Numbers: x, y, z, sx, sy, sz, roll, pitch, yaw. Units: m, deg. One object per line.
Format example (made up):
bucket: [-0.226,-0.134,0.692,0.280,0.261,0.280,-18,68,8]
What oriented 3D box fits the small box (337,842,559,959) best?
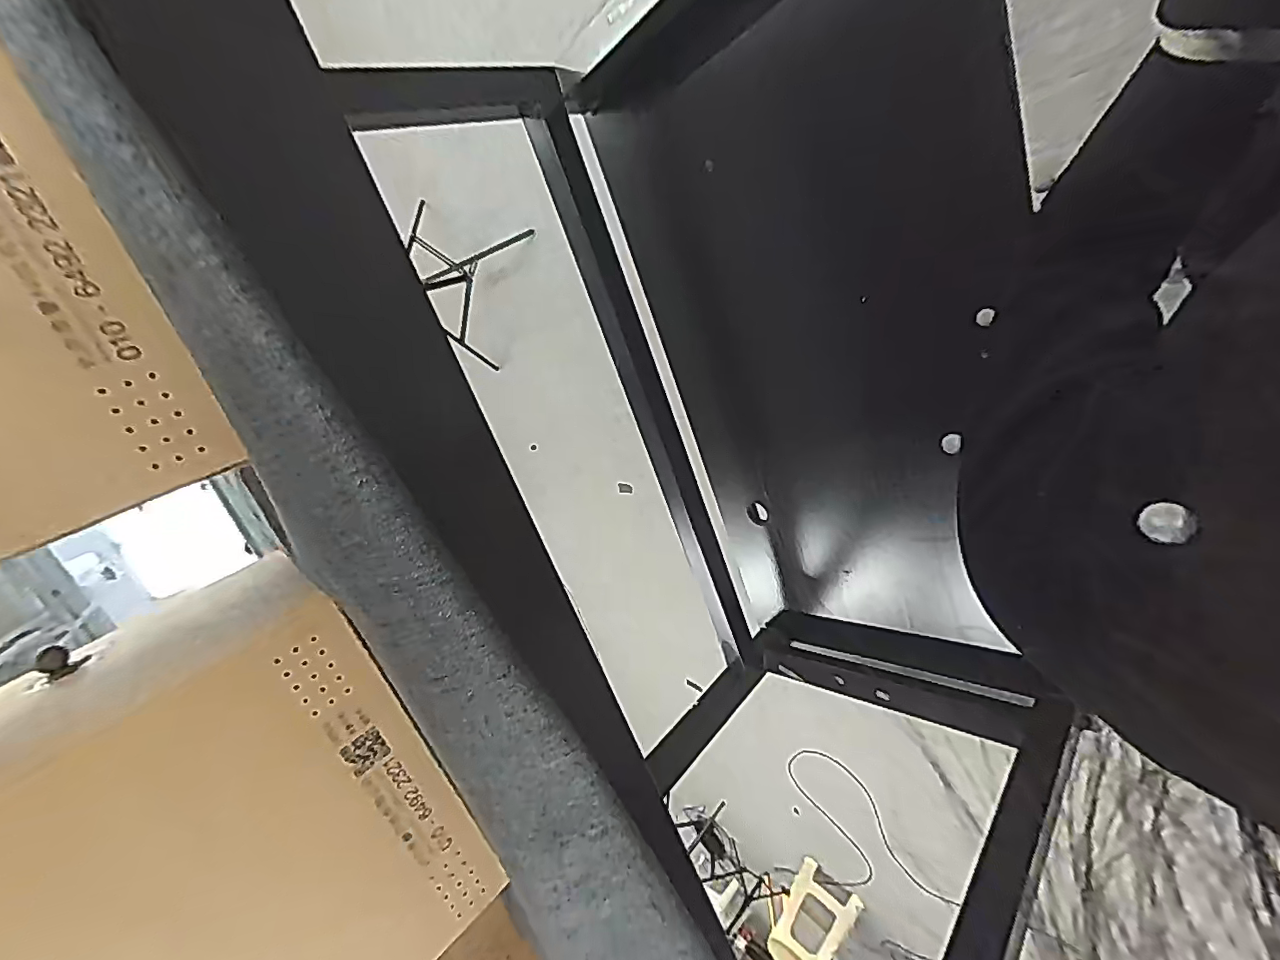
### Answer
small box: [-0.118,0.385,0.341,0.179,0.176,0.168,4,120,50]
